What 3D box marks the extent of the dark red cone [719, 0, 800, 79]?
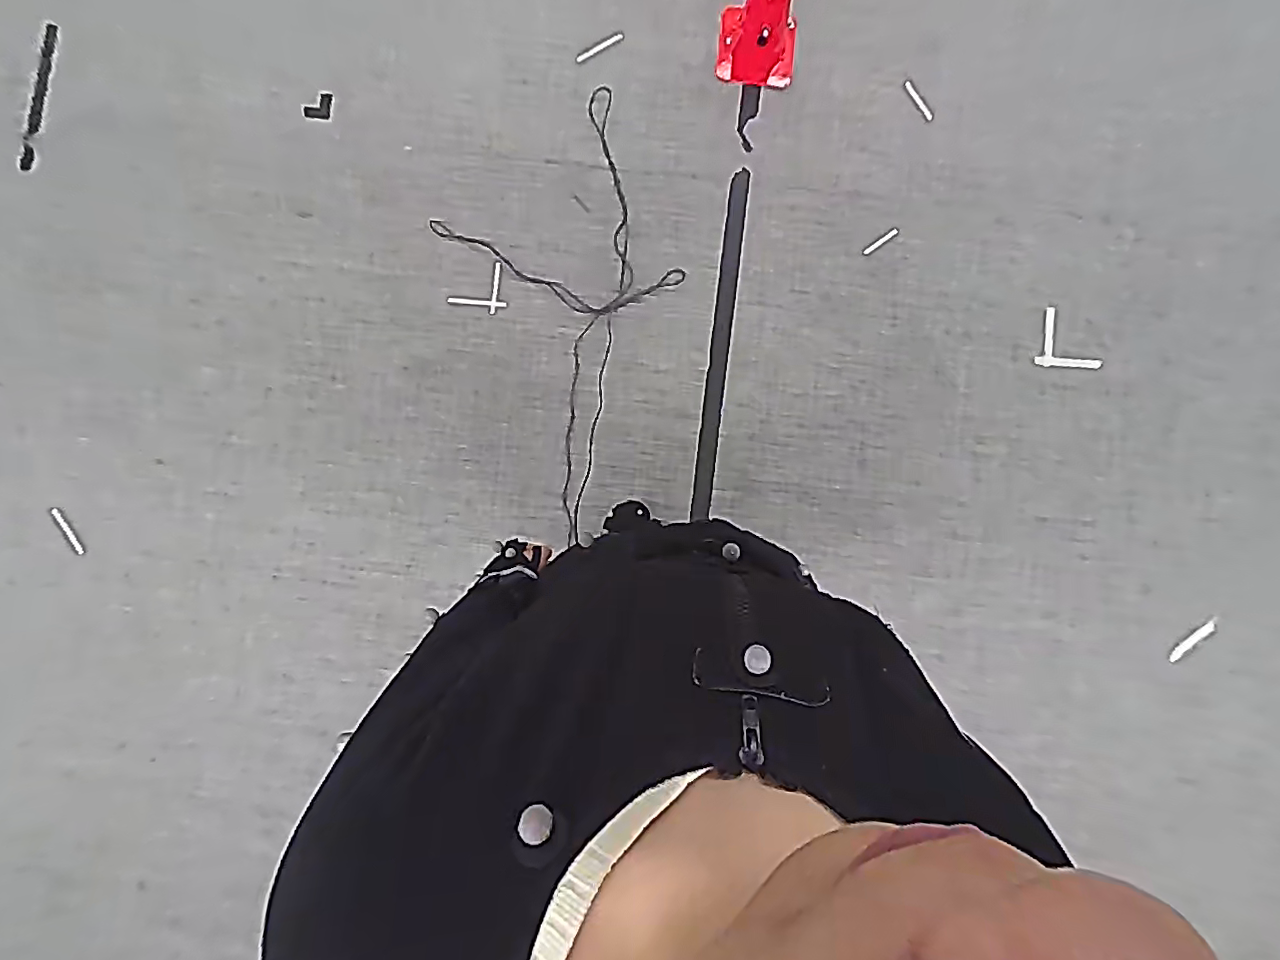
[{"bbox_3d":[0.307,-1.148,1.236,0.201,0.394,0.202,6,89,1],"label":"dark red cone"}]
